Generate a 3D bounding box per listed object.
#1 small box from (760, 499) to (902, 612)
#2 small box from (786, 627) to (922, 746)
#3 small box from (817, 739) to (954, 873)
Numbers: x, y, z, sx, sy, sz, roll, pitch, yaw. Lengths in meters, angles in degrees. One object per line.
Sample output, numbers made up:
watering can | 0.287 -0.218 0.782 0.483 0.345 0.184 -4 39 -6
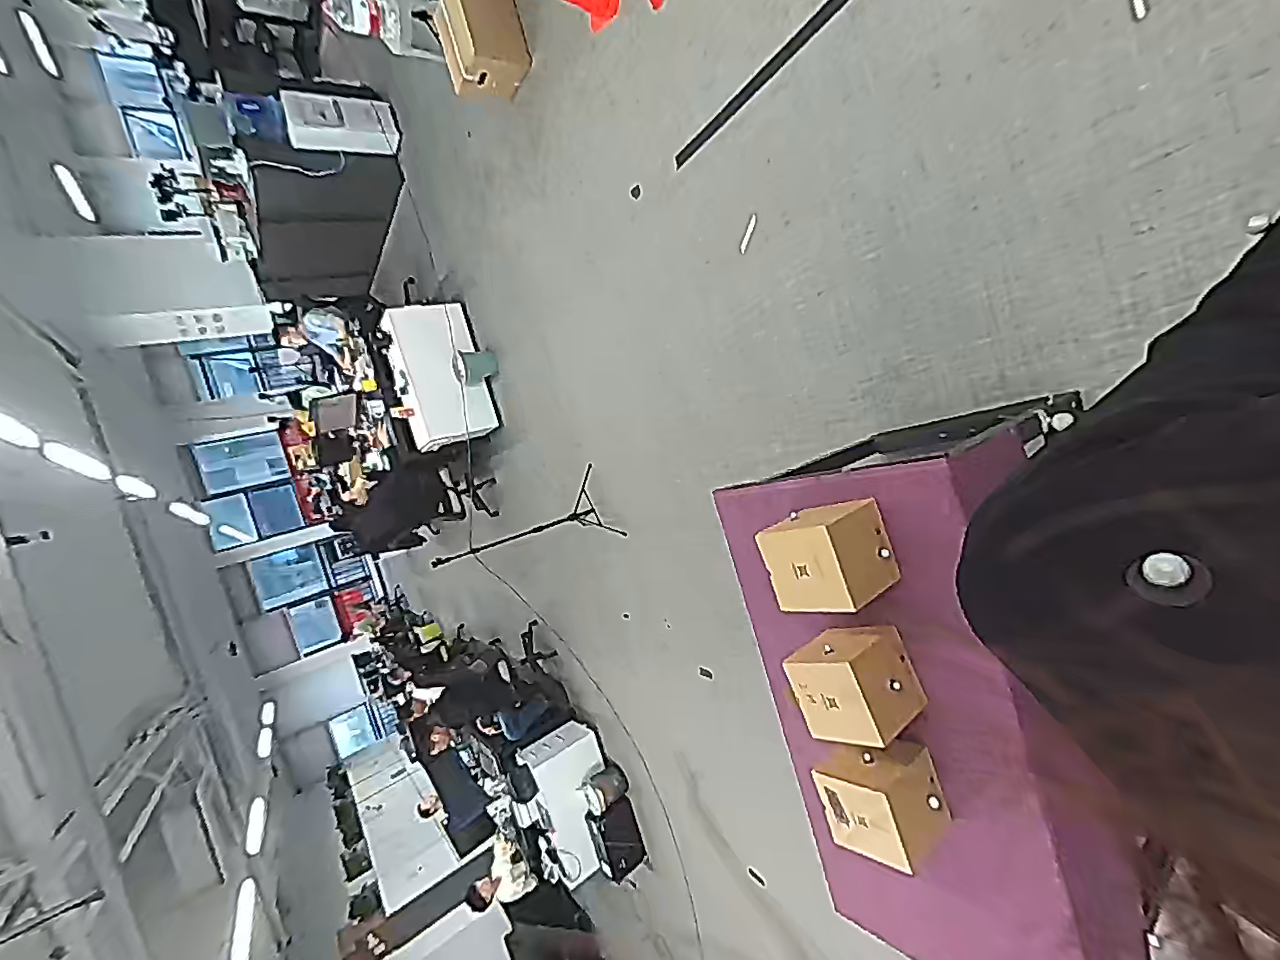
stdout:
small box | 0.375 0.147 1.067 0.179 0.176 0.168 -19 91 57
small box | 0.441 0.409 1.101 0.179 0.176 0.168 -29 81 56
small box | 0.508 0.653 1.124 0.179 0.176 0.168 -19 90 56
